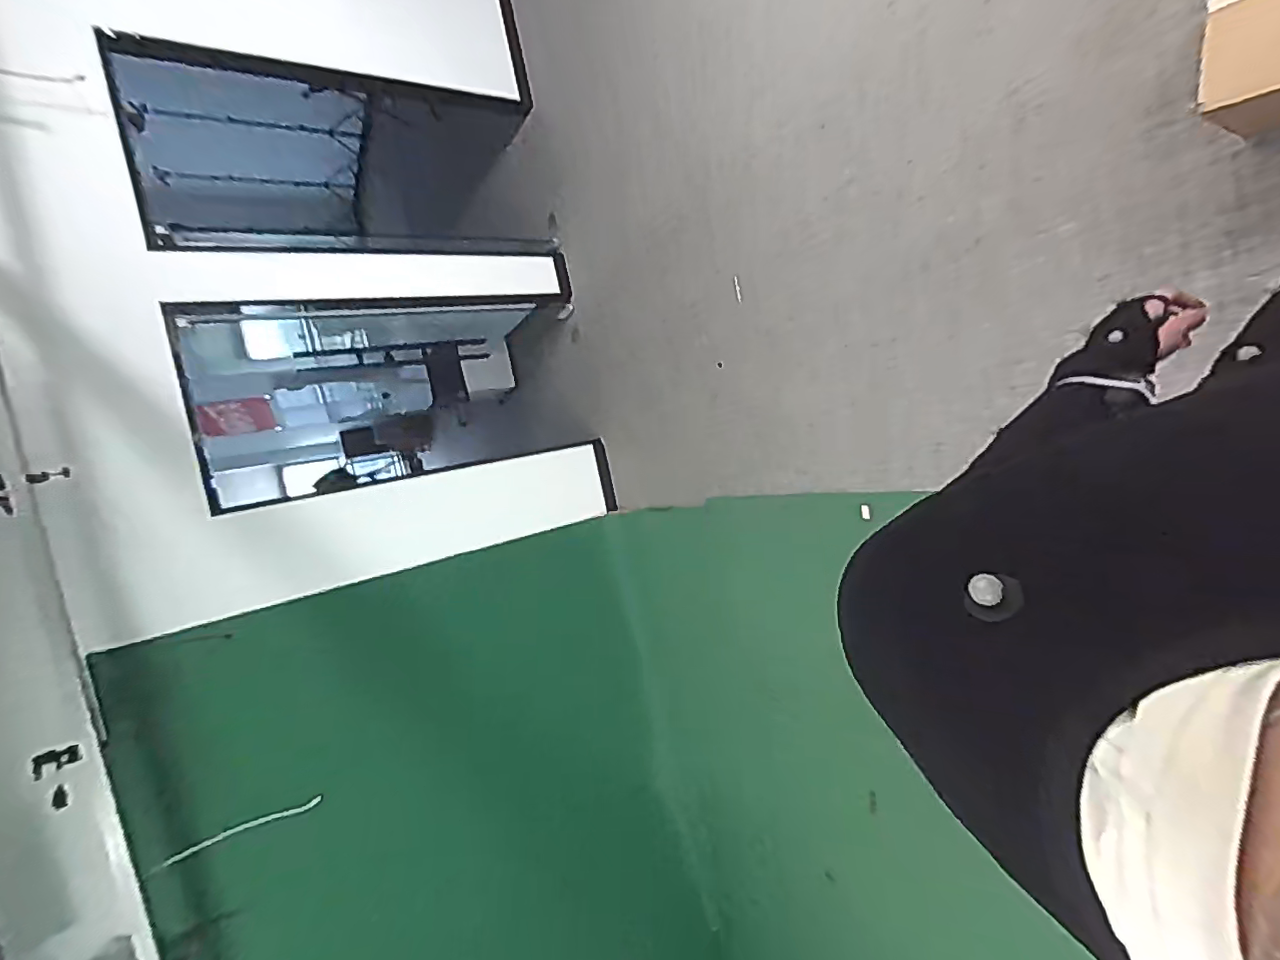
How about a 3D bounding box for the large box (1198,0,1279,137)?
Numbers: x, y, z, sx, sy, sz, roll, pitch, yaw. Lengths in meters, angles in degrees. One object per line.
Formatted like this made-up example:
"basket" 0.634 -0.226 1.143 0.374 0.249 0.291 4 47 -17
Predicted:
"large box" 1.158 -0.765 0.791 0.408 0.320 0.320 13 112 57
